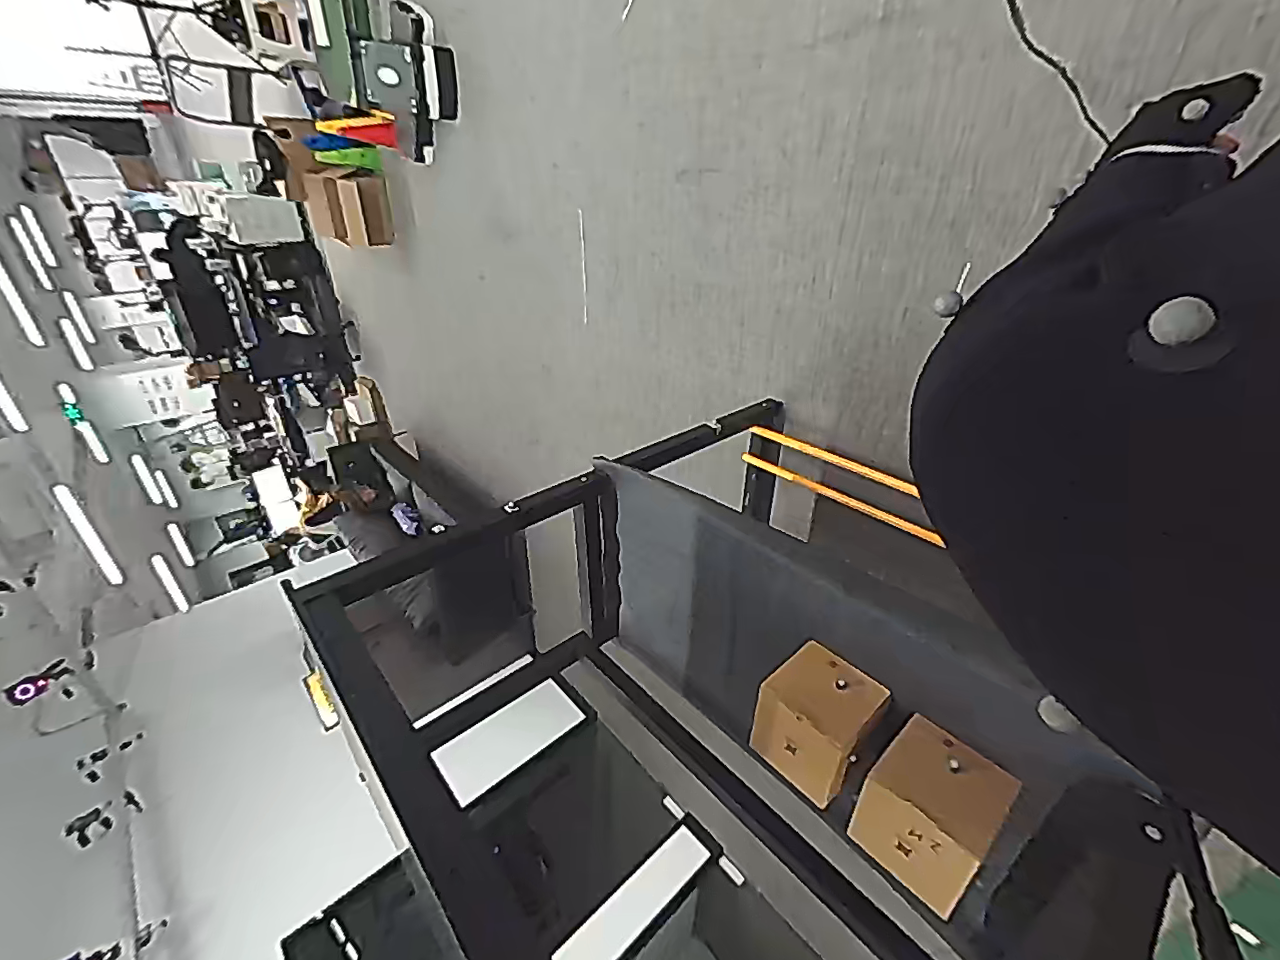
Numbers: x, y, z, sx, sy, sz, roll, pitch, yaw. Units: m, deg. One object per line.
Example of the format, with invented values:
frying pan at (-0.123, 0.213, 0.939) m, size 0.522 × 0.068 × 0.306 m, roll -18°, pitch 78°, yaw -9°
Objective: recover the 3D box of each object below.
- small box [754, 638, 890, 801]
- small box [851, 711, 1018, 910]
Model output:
small box at (0.336, 0.434, 1.002) m, size 0.168 × 0.176 × 0.179 m, roll 29°, pitch 131°, yaw 40°
small box at (0.471, 0.520, 0.870) m, size 0.168 × 0.176 × 0.179 m, roll 29°, pitch 131°, yaw 40°
